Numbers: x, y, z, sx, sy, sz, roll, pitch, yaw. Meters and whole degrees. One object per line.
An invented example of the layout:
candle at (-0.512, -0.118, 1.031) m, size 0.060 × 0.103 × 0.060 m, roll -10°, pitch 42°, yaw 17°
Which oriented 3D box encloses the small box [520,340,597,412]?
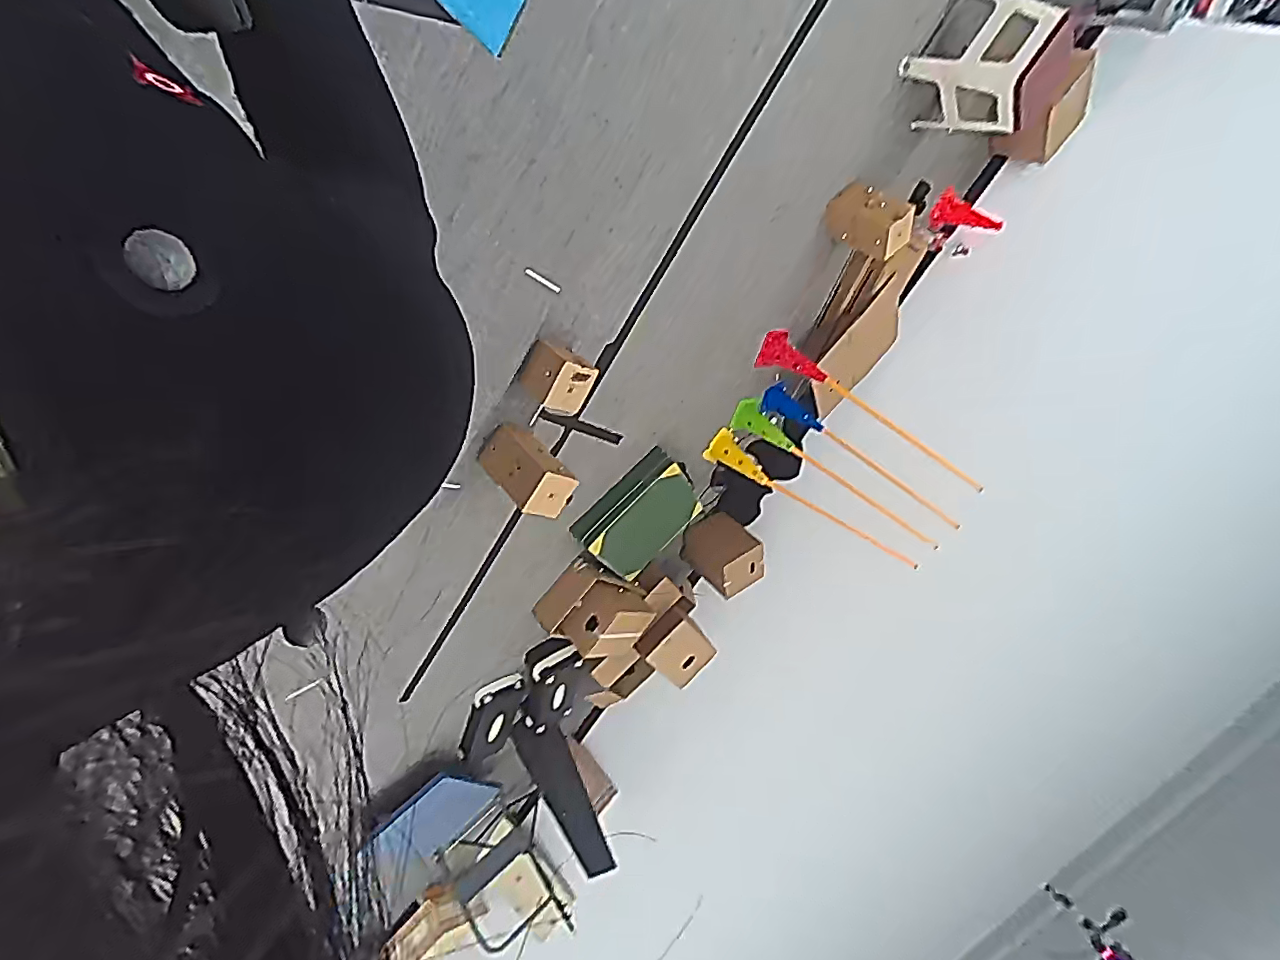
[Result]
small box at (-0.291, -0.367, 1.894) m, size 0.168 × 0.176 × 0.179 m, roll 6°, pitch 121°, yaw -52°

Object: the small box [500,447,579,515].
small box at (-0.355, 0.002, 1.907) m, size 0.168 × 0.176 × 0.179 m, roll -56°, pitch 146°, yaw 10°

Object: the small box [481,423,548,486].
small box at (-0.460, -0.082, 1.999) m, size 0.179 × 0.176 × 0.168 m, roll -54°, pitch 148°, yaw 11°
